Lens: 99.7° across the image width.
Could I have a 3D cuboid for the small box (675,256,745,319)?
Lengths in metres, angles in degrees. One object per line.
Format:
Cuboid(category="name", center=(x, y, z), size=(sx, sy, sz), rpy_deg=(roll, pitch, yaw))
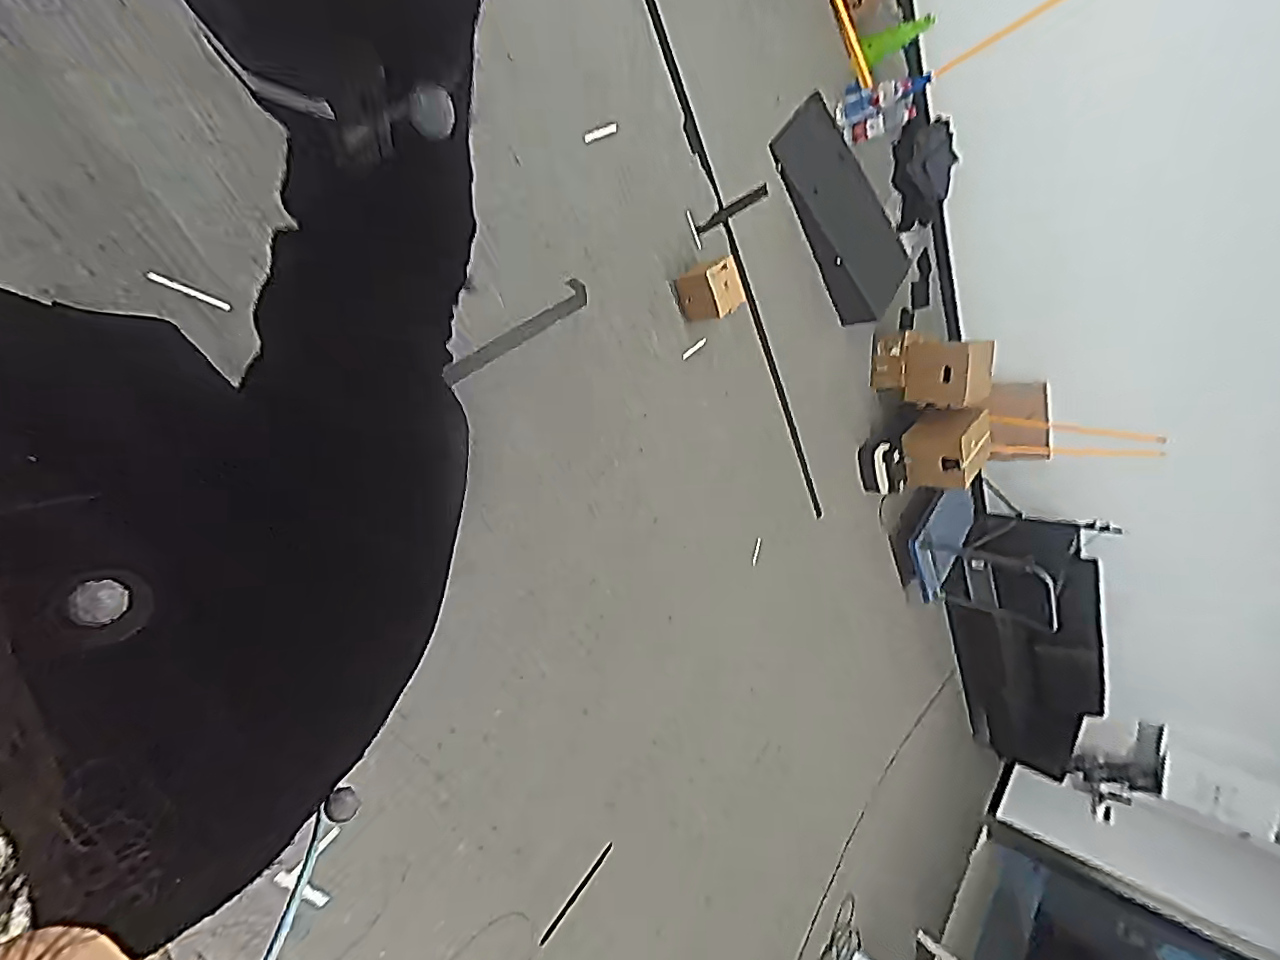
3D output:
Cuboid(category="small box", center=(0.263, -0.722, 2.043), size=(0.168, 0.176, 0.179), rpy_deg=(-41, 122, -30))
